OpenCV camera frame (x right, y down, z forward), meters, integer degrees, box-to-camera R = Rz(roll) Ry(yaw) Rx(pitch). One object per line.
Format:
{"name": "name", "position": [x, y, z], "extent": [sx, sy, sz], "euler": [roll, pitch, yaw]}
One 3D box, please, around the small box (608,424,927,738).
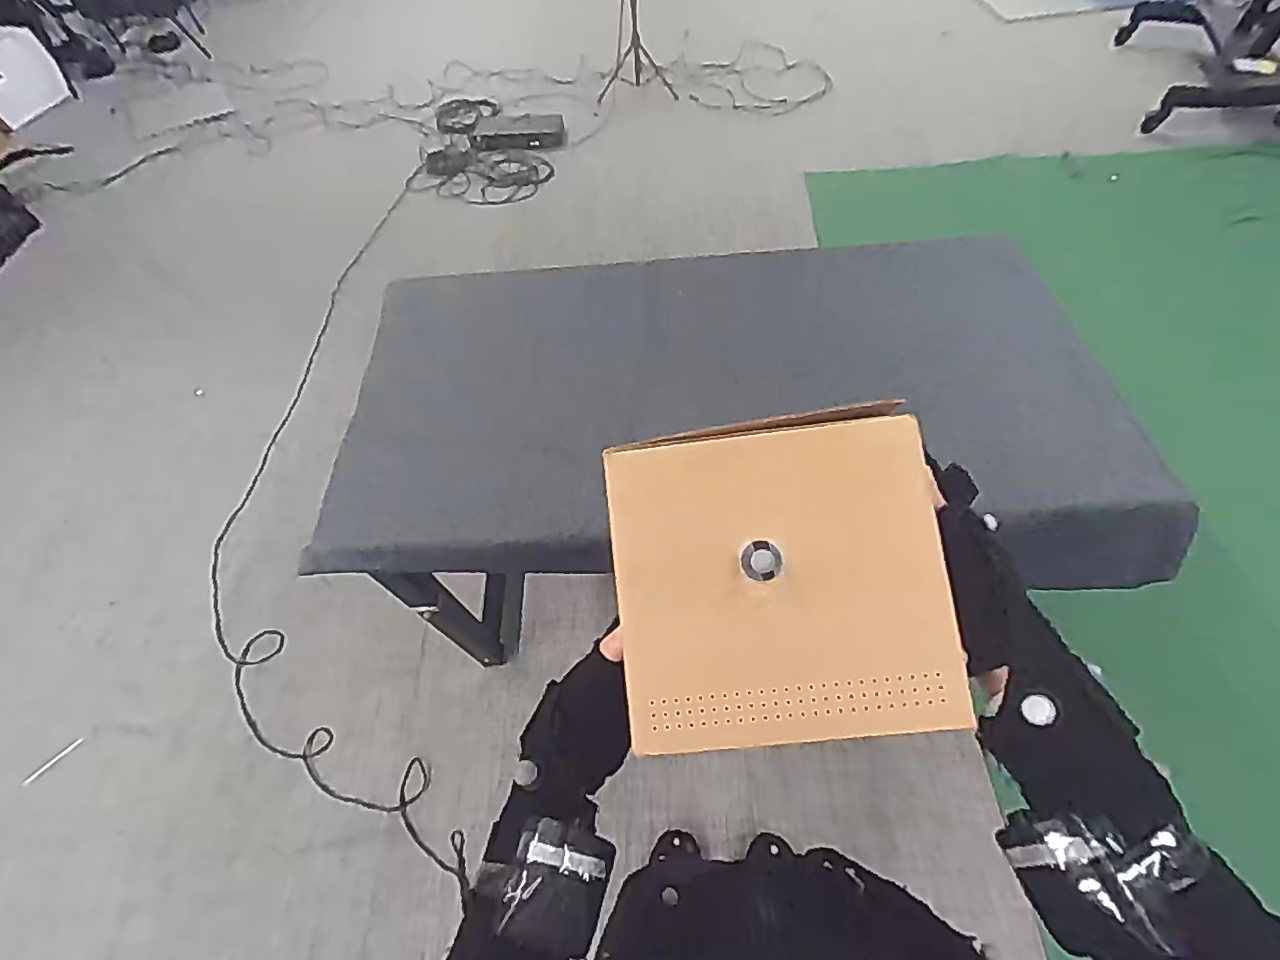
{"name": "small box", "position": [0.082, 0.070, 0.386], "extent": [0.179, 0.168, 0.176], "euler": [-7, 79, 5]}
